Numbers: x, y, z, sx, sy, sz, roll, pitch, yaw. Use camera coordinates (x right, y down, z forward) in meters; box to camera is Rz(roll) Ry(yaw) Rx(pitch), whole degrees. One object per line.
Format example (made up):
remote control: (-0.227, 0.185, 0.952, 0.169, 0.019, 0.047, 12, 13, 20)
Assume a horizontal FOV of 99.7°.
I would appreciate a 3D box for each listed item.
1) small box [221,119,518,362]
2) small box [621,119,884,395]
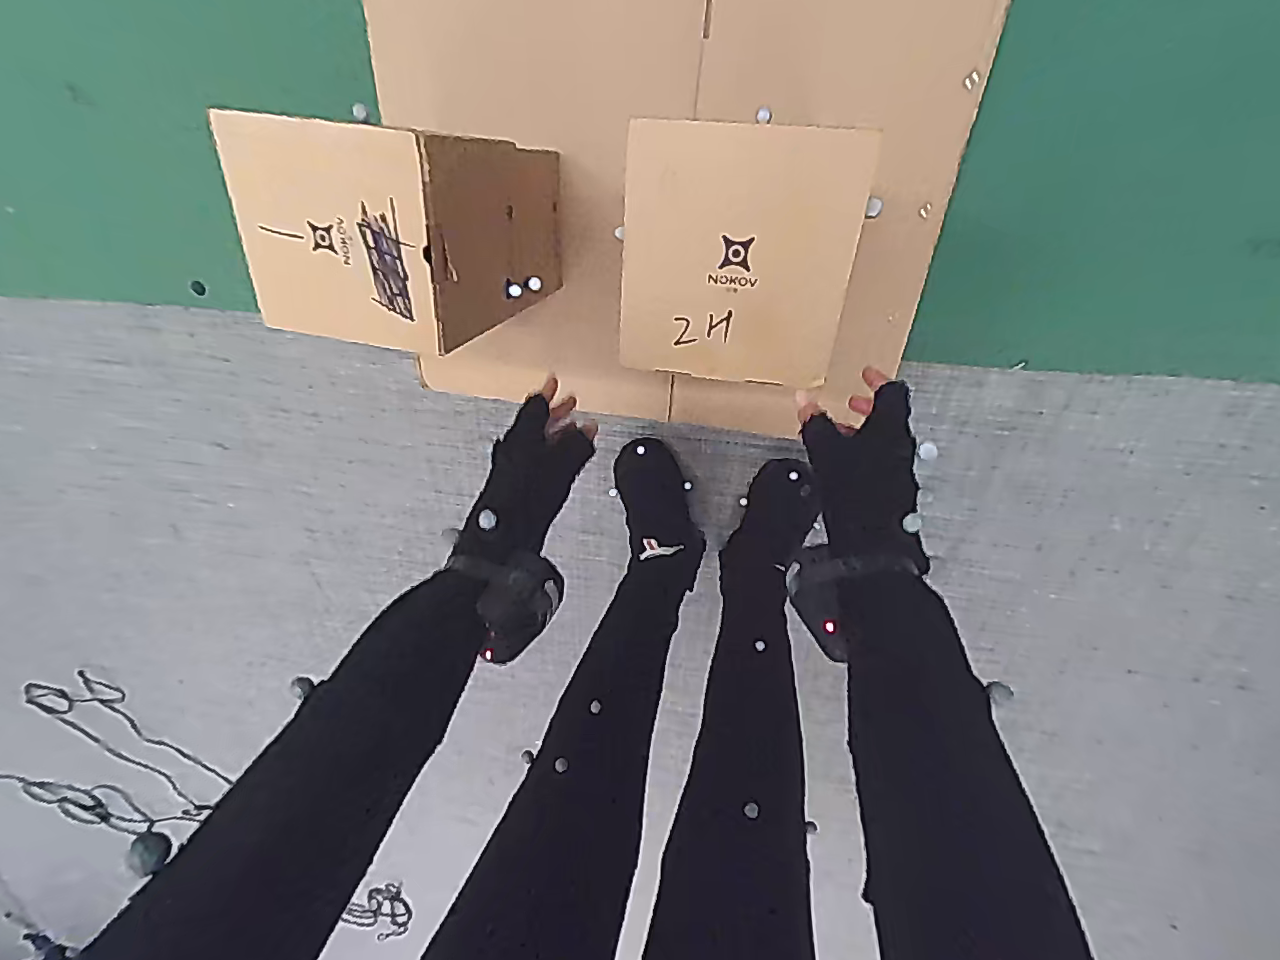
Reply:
small box: (-0.223, -0.225, 0.504, 0.179, 0.176, 0.168, 12, 121, 8)
small box: (0.084, -0.191, 0.461, 0.168, 0.176, 0.179, 9, 120, 8)
